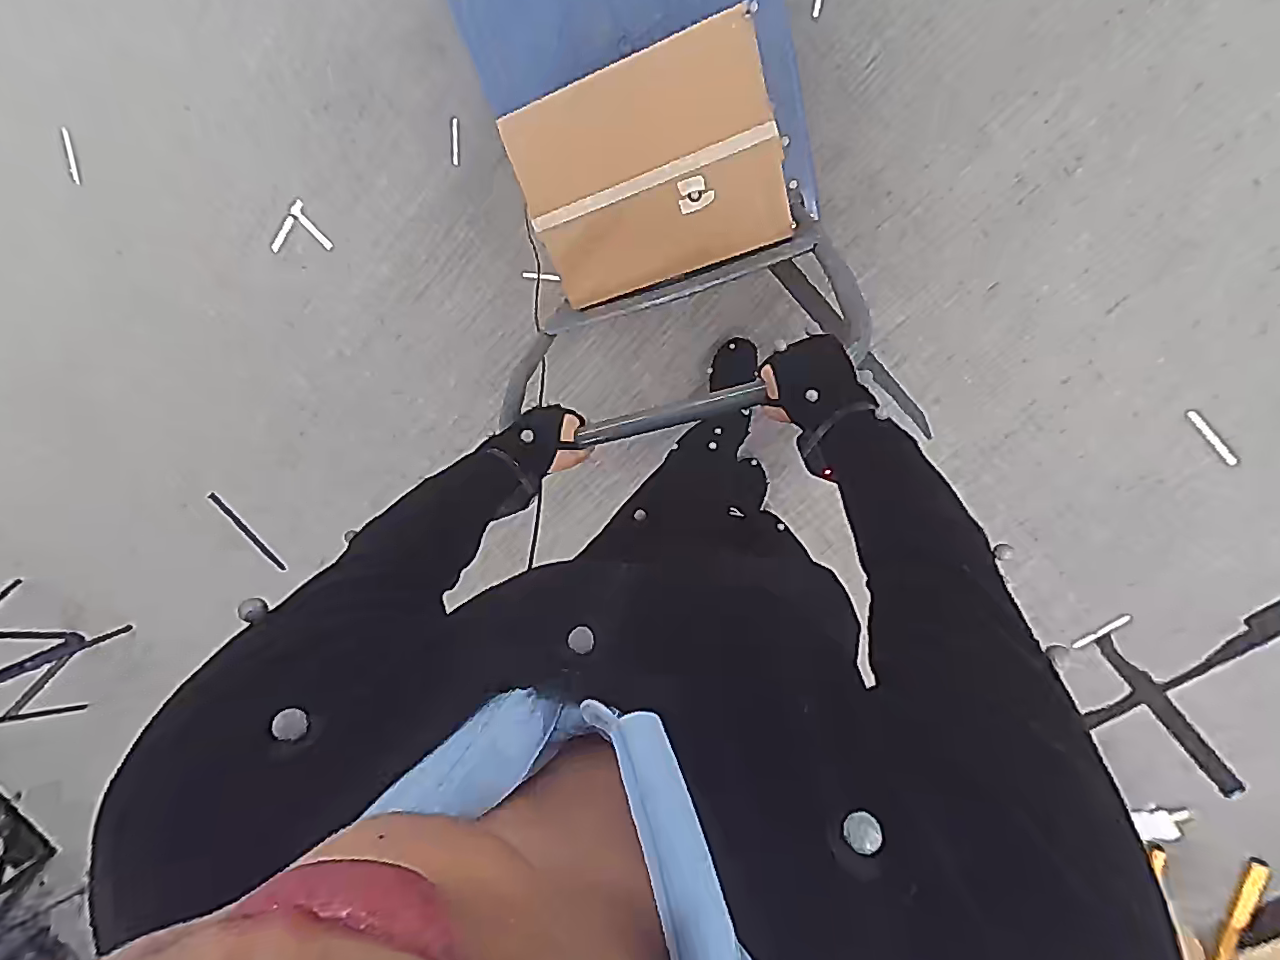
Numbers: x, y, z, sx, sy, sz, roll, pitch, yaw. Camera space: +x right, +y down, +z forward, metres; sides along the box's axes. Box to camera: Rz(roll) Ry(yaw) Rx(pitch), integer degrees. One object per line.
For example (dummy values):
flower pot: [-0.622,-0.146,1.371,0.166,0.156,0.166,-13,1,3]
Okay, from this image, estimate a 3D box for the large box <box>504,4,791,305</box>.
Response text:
large box: [0.033,-0.569,1.000,0.408,0.320,0.320,-13,120,16]
